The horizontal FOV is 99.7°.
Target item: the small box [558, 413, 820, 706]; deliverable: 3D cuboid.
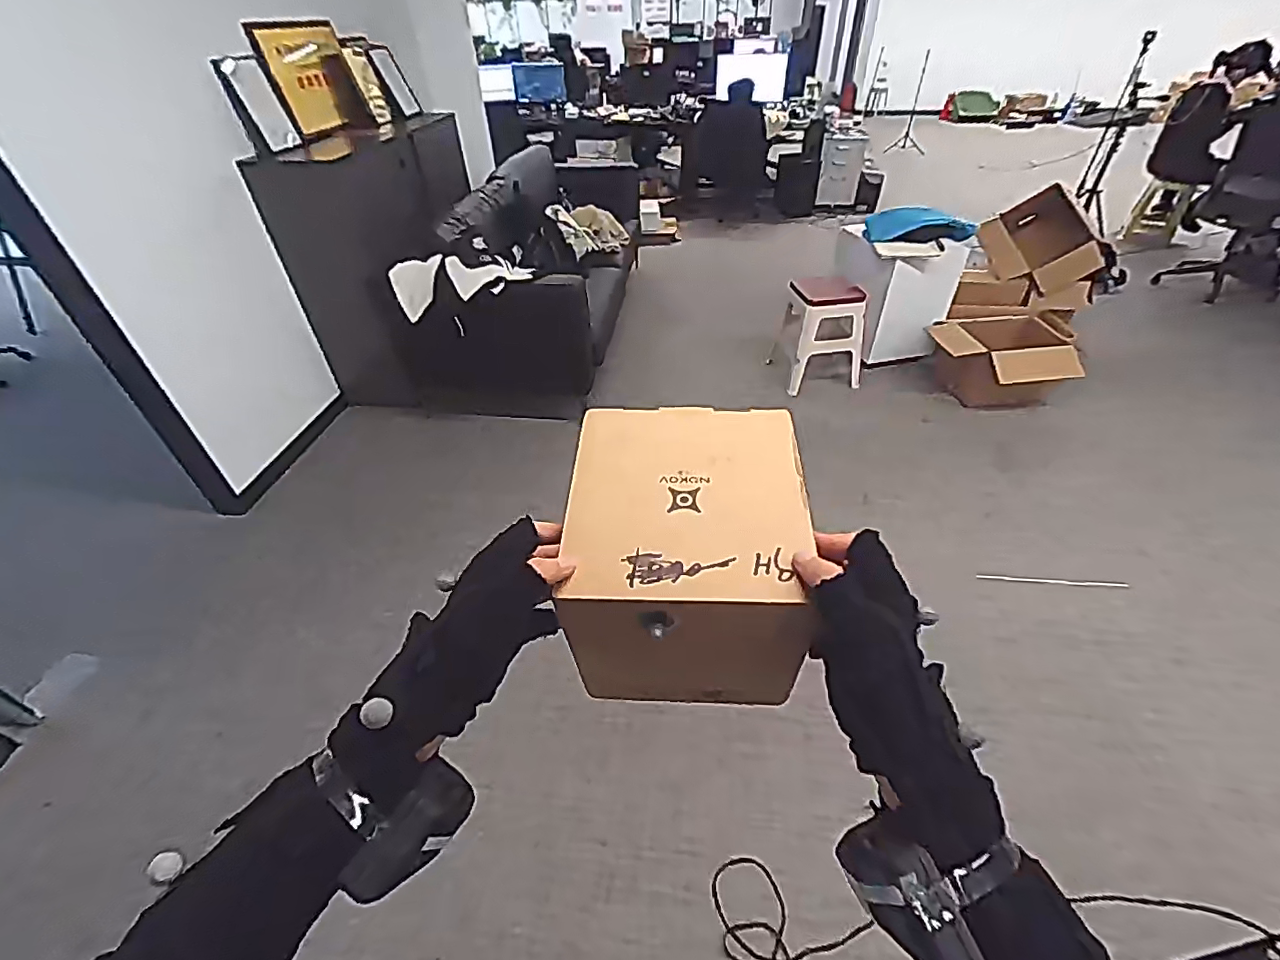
[{"bbox_3d":[0.039,0.063,0.447,0.168,0.176,0.179,0,47,6],"label":"small box"}]
